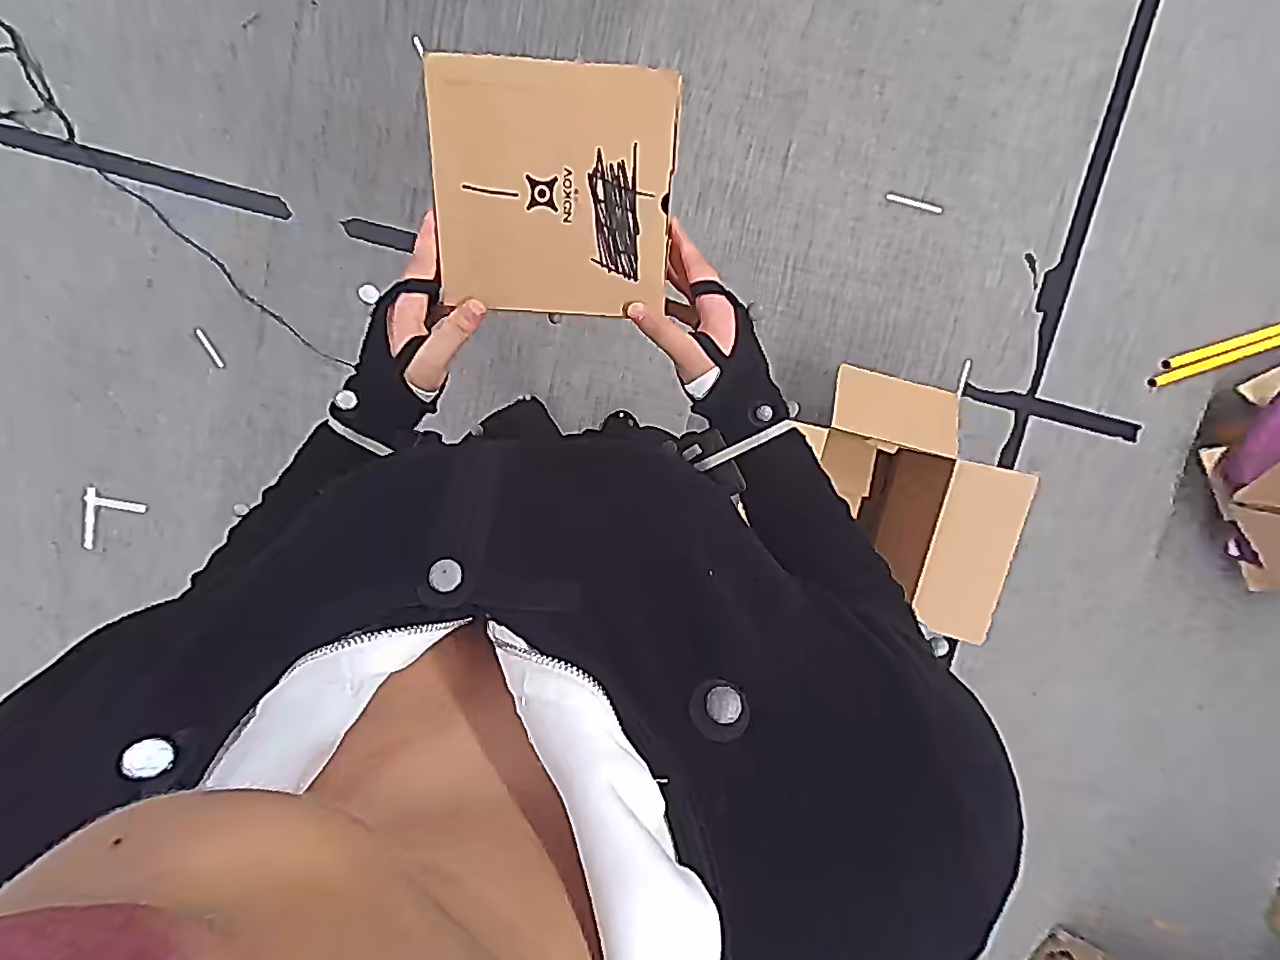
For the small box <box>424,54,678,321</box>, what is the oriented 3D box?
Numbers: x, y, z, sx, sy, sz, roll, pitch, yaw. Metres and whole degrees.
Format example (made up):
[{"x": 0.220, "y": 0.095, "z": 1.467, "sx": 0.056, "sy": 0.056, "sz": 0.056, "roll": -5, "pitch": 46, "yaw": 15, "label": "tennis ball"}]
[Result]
[{"x": -0.067, "y": -0.238, "z": 0.471, "sx": 0.179, "sy": 0.176, "sz": 0.168, "roll": 3, "pitch": 112, "yaw": -2, "label": "small box"}]
